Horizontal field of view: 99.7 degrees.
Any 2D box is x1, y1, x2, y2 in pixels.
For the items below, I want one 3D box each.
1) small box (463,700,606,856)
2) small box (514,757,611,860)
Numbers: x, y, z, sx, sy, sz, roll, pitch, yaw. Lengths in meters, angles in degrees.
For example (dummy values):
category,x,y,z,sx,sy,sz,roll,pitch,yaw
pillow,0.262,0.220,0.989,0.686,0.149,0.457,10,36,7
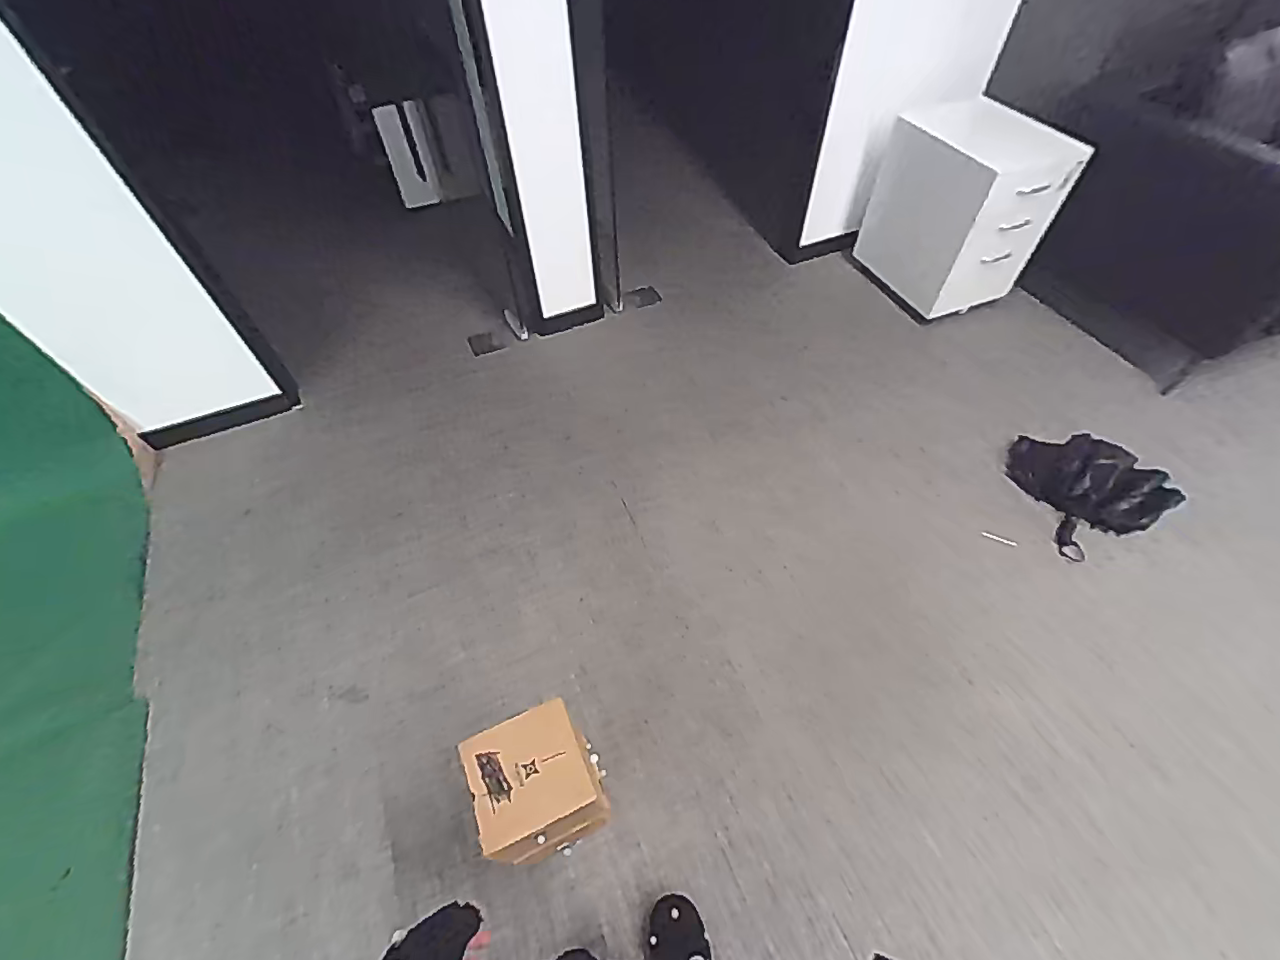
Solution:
category,x,y,z,sx,sy,sz,roll,pitch,yaw
small box,-0.171,0.503,0.907,0.179,0.176,0.168,-21,56,-13
small box,-0.165,0.591,1.026,0.168,0.176,0.179,-22,57,-12
